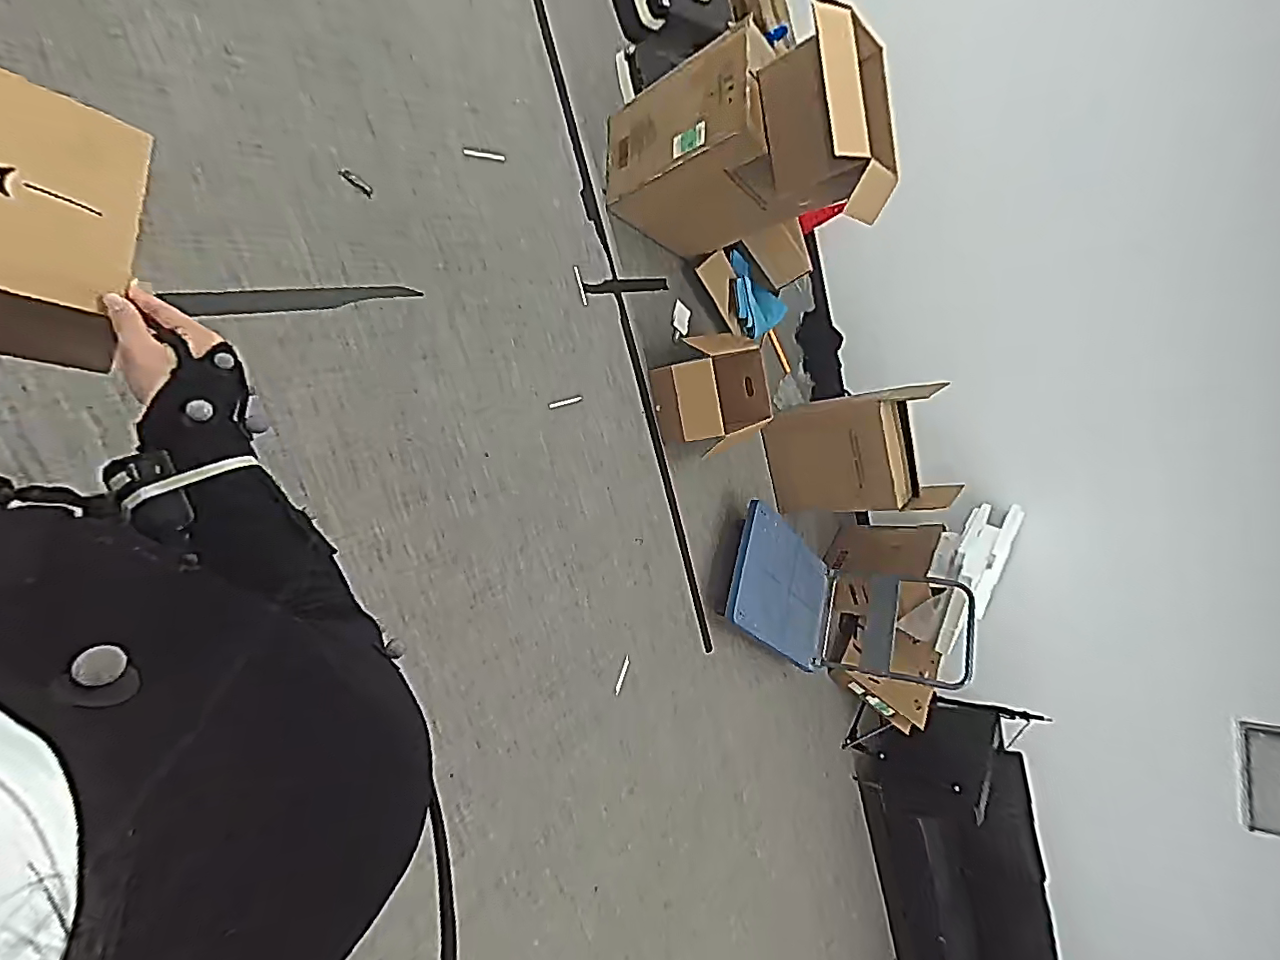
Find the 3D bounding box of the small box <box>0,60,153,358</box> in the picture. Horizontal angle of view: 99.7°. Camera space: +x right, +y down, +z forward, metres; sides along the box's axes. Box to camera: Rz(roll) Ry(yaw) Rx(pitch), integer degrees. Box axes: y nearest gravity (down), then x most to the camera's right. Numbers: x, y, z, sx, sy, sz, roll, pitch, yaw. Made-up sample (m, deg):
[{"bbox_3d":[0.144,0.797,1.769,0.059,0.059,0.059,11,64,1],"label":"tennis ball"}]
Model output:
[{"bbox_3d":[-0.520,-0.210,0.424,0.179,0.176,0.168,11,76,-47],"label":"small box"}]
